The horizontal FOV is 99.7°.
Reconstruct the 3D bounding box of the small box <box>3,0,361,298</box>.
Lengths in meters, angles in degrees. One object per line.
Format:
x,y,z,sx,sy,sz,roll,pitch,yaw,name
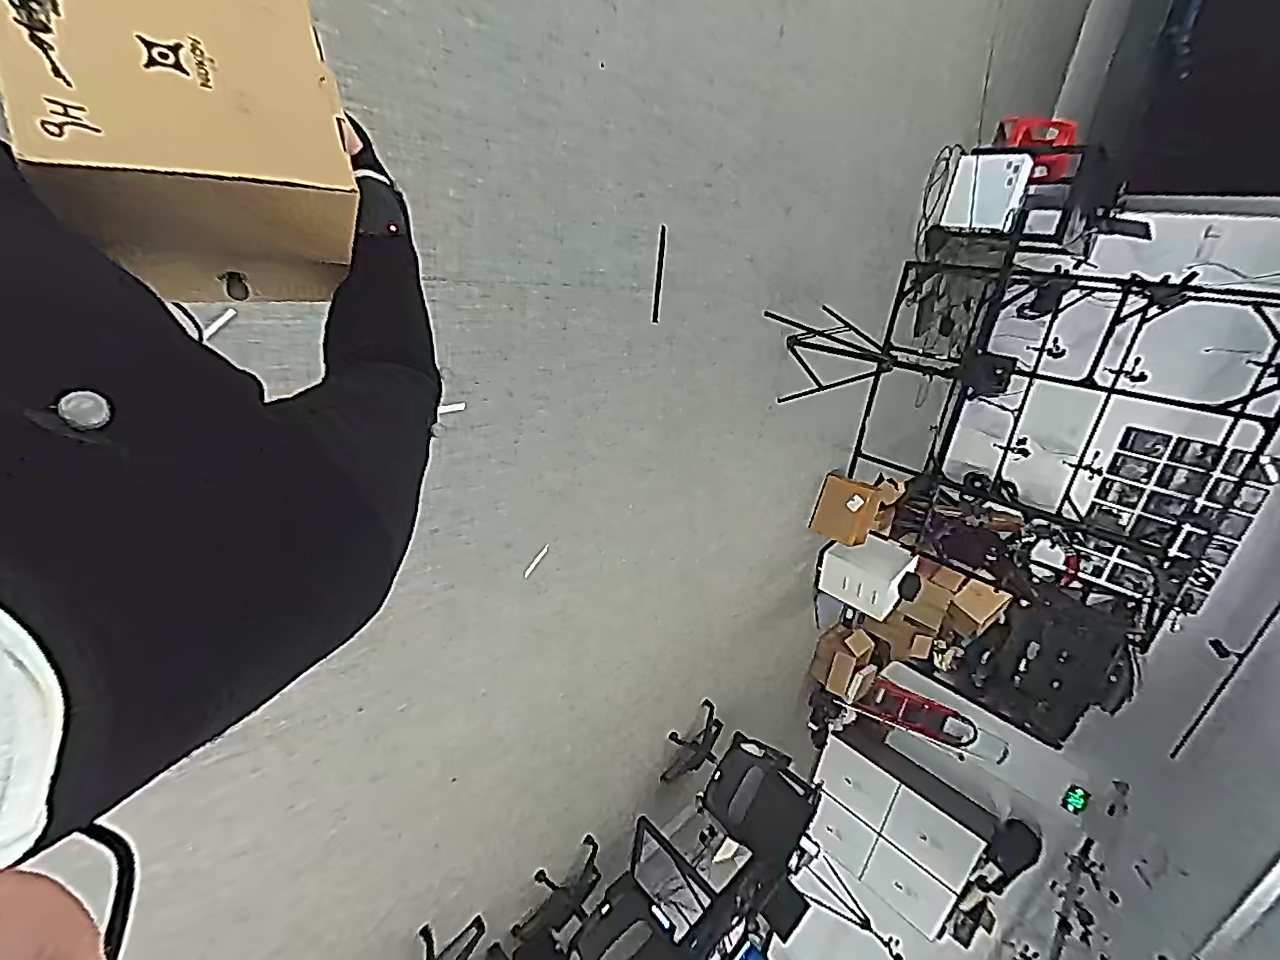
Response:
-0.345,-0.260,0.433,0.179,0.176,0.168,-13,85,-34,small box
